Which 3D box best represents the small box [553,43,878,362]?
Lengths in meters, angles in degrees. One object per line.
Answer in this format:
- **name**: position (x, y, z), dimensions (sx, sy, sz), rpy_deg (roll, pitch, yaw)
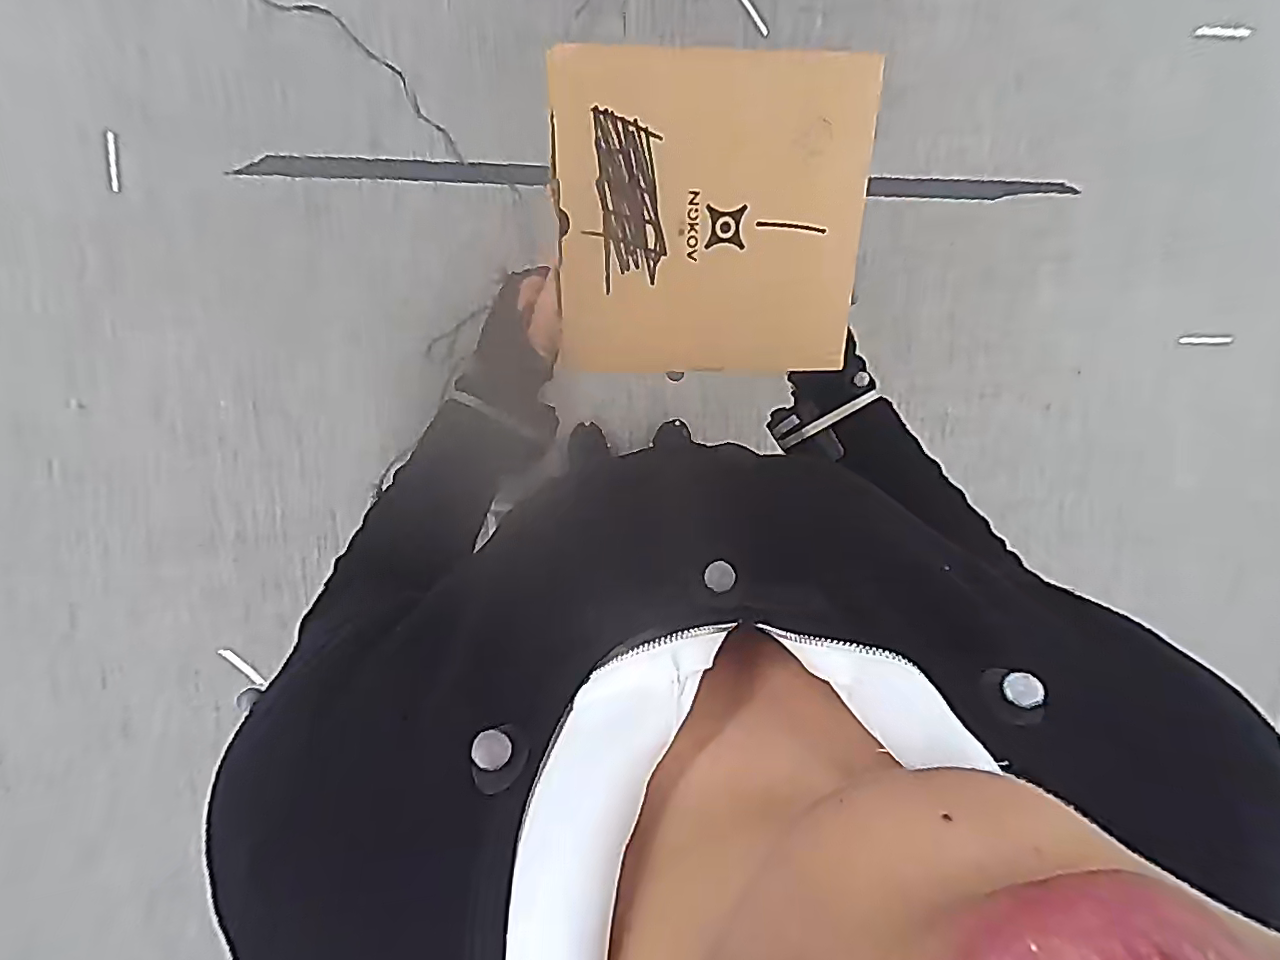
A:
- **small box**: position (0.037, -0.180, 0.387), dimensions (0.179, 0.176, 0.168), rpy_deg (-1, 112, -3)
